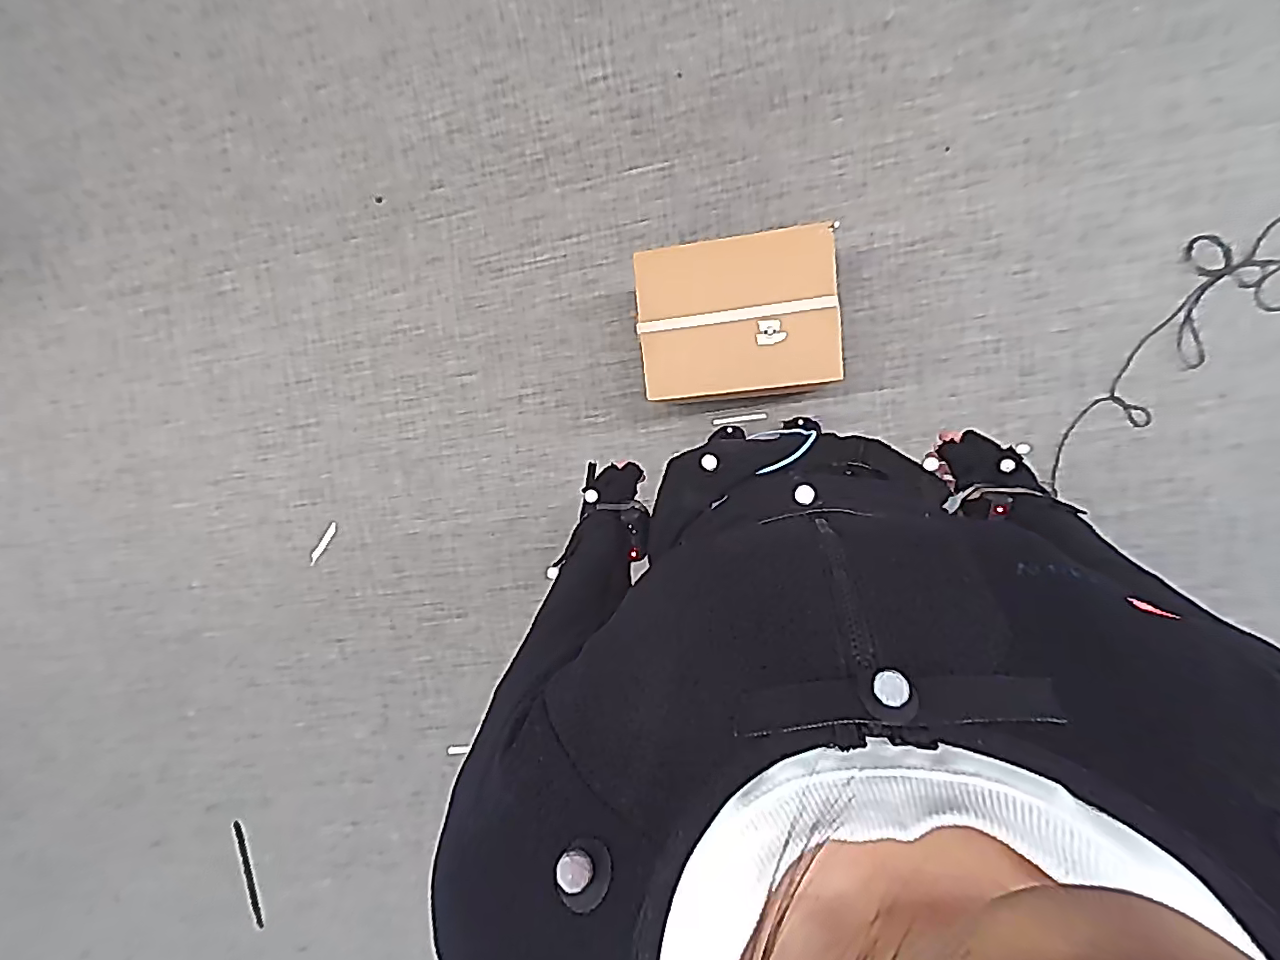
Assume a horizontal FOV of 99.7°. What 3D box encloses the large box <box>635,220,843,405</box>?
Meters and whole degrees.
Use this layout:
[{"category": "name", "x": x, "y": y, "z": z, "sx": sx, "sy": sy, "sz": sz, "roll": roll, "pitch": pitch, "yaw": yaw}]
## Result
[{"category": "large box", "x": 0.223, "y": -0.358, "z": 1.259, "sx": 0.408, "sy": 0.320, "sz": 0.320, "roll": -5, "pitch": 96, "yaw": 10}]
